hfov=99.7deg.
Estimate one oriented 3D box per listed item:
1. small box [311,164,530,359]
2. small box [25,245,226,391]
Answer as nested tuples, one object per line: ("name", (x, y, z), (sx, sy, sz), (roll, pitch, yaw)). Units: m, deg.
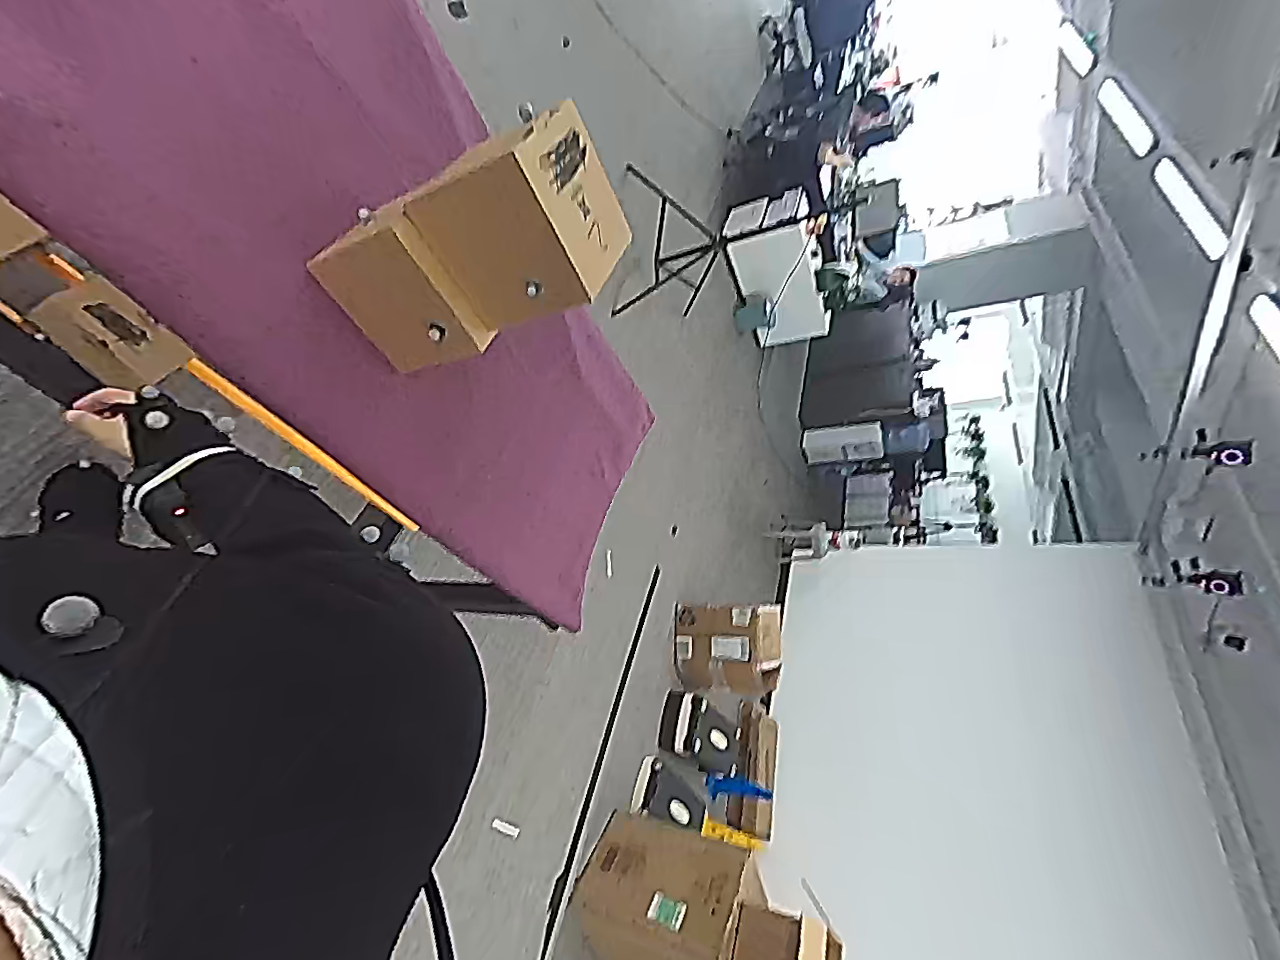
("small box", (-0.288, -0.282, 0.732), (0.179, 0.176, 0.168), (58, 38, -39))
("small box", (-0.888, -0.273, 0.934), (0.168, 0.176, 0.179), (63, 37, -35))
